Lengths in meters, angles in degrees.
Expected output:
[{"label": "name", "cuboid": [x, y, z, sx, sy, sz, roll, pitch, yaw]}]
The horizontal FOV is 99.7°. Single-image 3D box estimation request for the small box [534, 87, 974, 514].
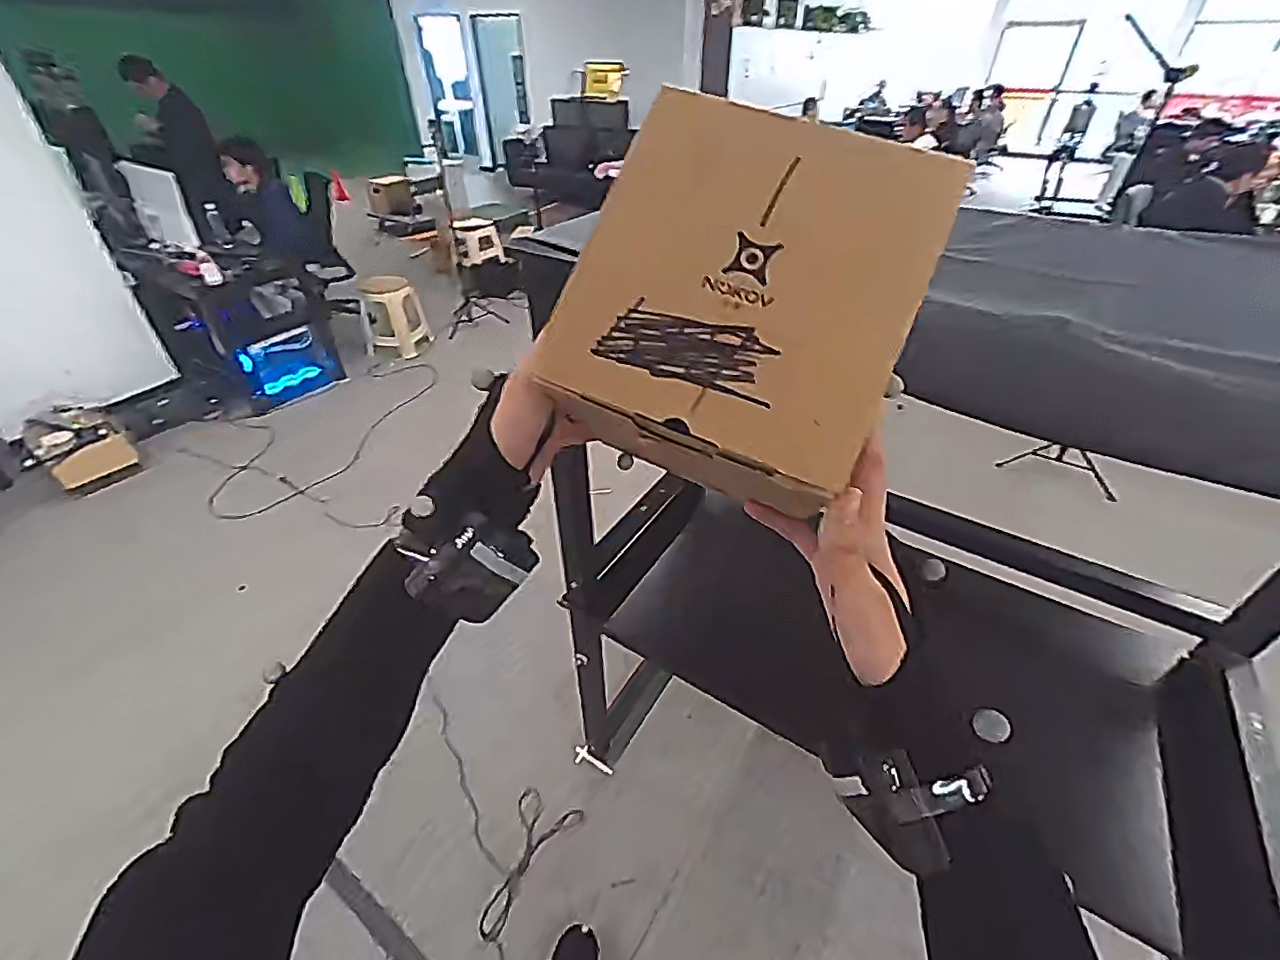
[{"label": "small box", "cuboid": [0.065, -0.088, 0.343, 0.168, 0.176, 0.179, 23, 86, 12]}]
